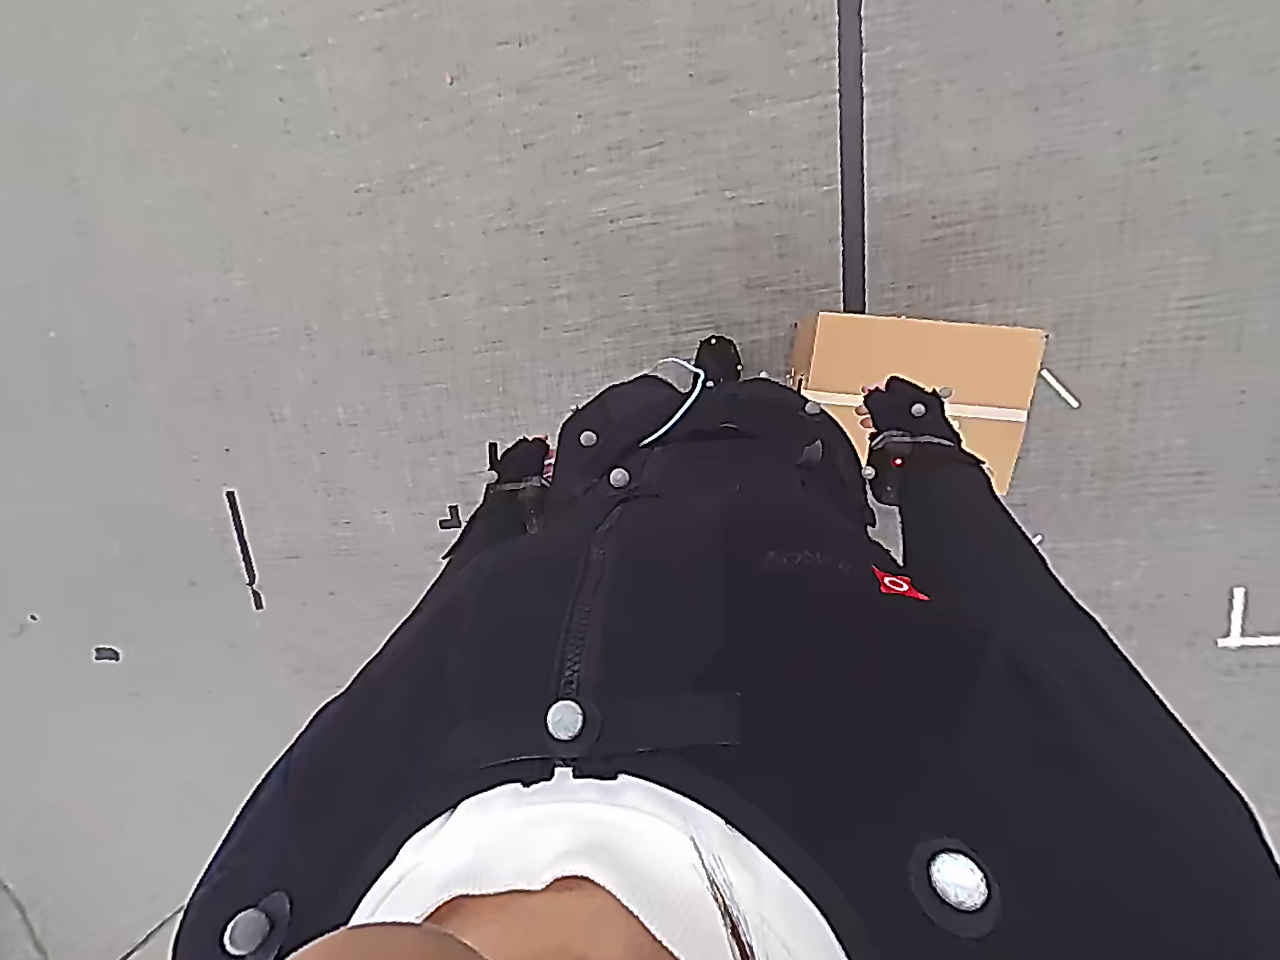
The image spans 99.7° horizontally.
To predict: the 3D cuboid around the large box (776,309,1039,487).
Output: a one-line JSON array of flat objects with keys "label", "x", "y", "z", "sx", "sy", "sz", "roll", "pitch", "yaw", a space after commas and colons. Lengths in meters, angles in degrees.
[{"label": "large box", "x": 0.528, "y": -0.187, "z": 1.169, "sx": 0.408, "sy": 0.320, "sz": 0.320, "roll": 7, "pitch": 105, "yaw": 6}]
